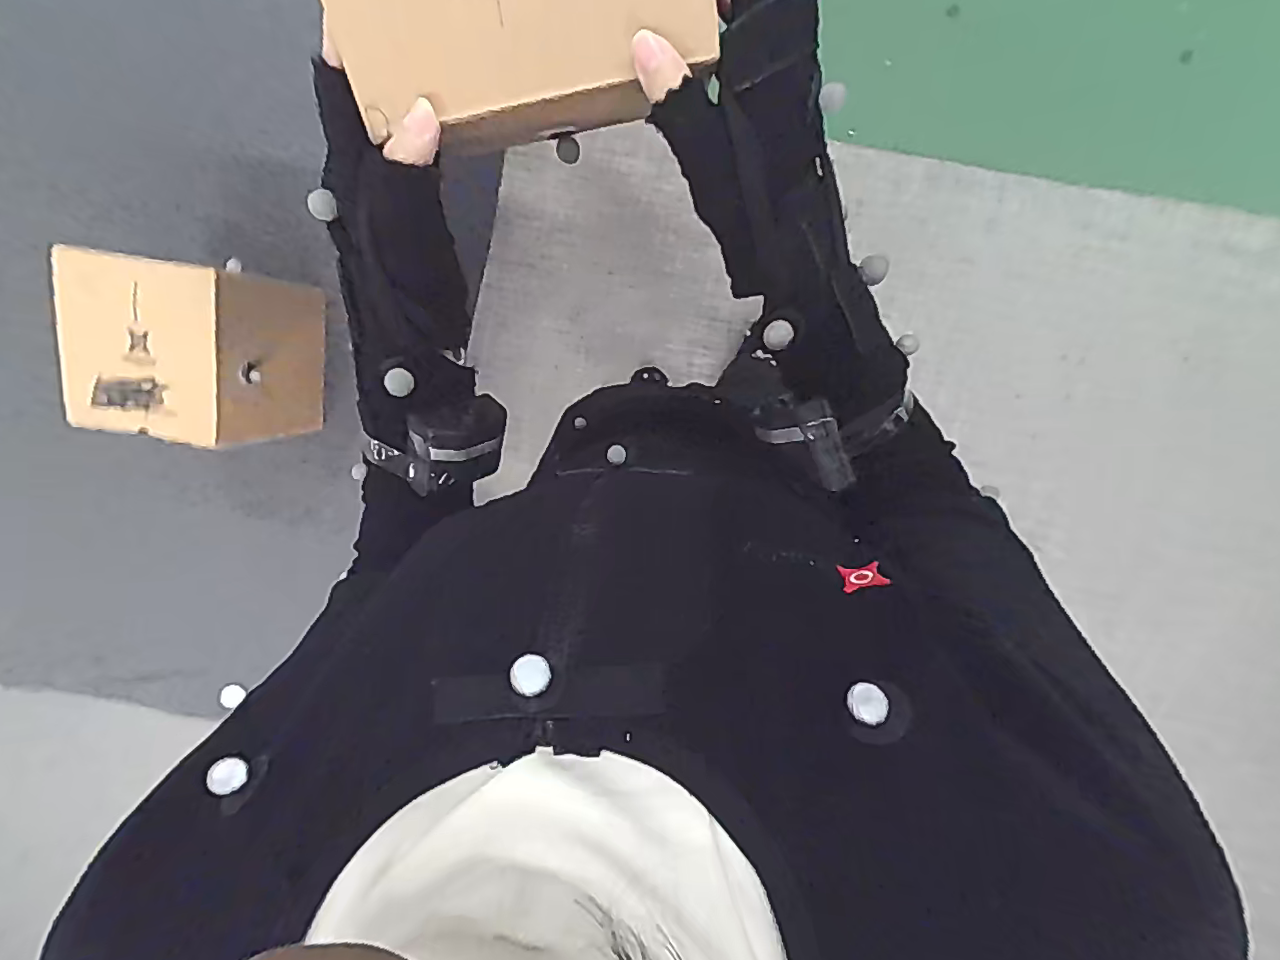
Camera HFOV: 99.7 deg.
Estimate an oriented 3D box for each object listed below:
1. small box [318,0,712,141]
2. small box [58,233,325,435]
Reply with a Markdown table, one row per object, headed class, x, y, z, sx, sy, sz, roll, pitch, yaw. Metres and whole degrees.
| class | x | y | z | sx | sy | sz | roll | pitch | yaw |
| --- | --- | --- | --- | --- | --- | --- | --- | --- | --- |
| small box | -0.057 | -0.286 | 0.269 | 0.168 | 0.176 | 0.179 | -5 | 119 | 8 |
| small box | -0.491 | -0.162 | 0.618 | 0.168 | 0.176 | 0.179 | 10 | 104 | 3 |
